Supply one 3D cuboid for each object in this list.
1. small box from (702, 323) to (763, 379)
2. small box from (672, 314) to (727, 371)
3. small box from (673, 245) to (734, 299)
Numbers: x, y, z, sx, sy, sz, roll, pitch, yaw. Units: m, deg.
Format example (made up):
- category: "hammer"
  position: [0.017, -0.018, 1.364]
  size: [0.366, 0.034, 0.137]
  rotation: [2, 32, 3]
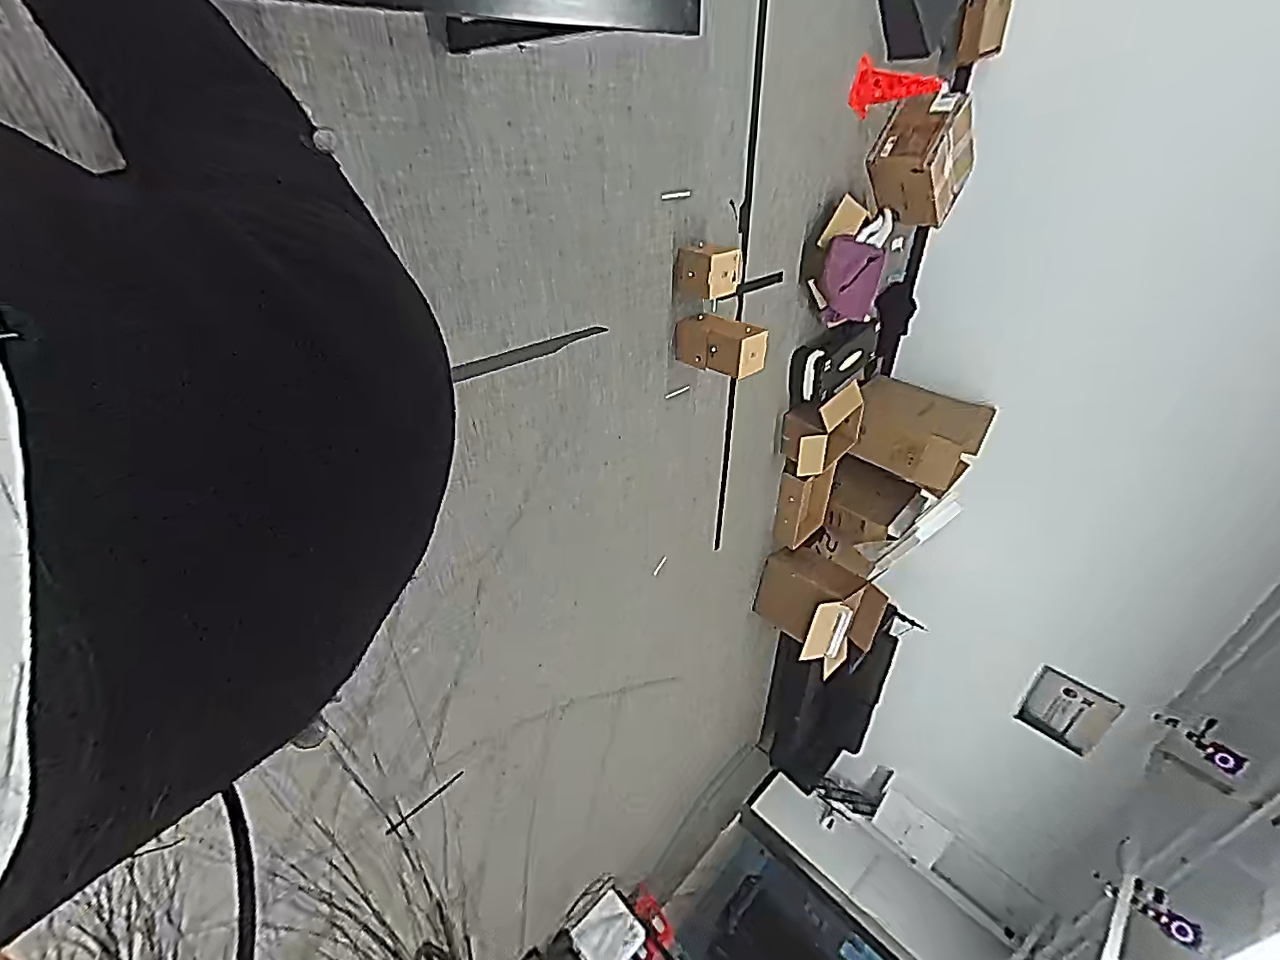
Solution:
- category: "small box"
  position: [0.374, -0.533, 2.211]
  size: [0.179, 0.176, 0.168]
  rotation: [-28, 132, -35]
- category: "small box"
  position: [0.251, -0.590, 2.302]
  size: [0.168, 0.176, 0.179]
  rotation: [-31, 135, -34]
- category: "small box"
  position: [0.245, -0.825, 2.136]
  size: [0.179, 0.176, 0.168]
  rotation: [-28, 132, -36]
